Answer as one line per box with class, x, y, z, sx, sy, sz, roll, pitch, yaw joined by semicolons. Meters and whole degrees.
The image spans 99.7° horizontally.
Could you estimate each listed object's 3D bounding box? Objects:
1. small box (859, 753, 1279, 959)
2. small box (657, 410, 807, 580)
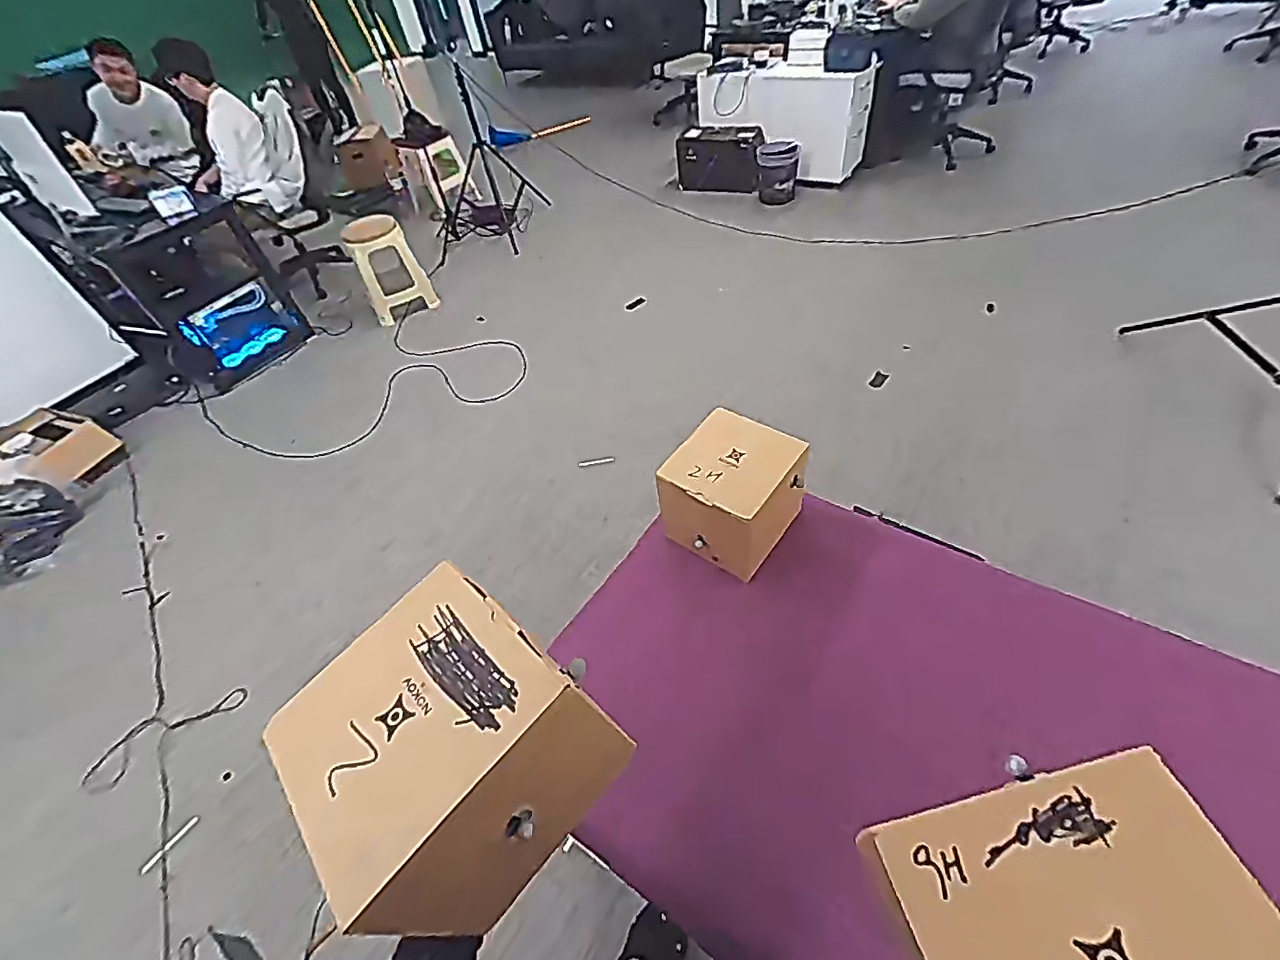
small box;0.252;0.289;0.328;0.168;0.176;0.179;-19;53;4
small box;0.148;0.025;0.874;0.168;0.176;0.179;28;60;29
